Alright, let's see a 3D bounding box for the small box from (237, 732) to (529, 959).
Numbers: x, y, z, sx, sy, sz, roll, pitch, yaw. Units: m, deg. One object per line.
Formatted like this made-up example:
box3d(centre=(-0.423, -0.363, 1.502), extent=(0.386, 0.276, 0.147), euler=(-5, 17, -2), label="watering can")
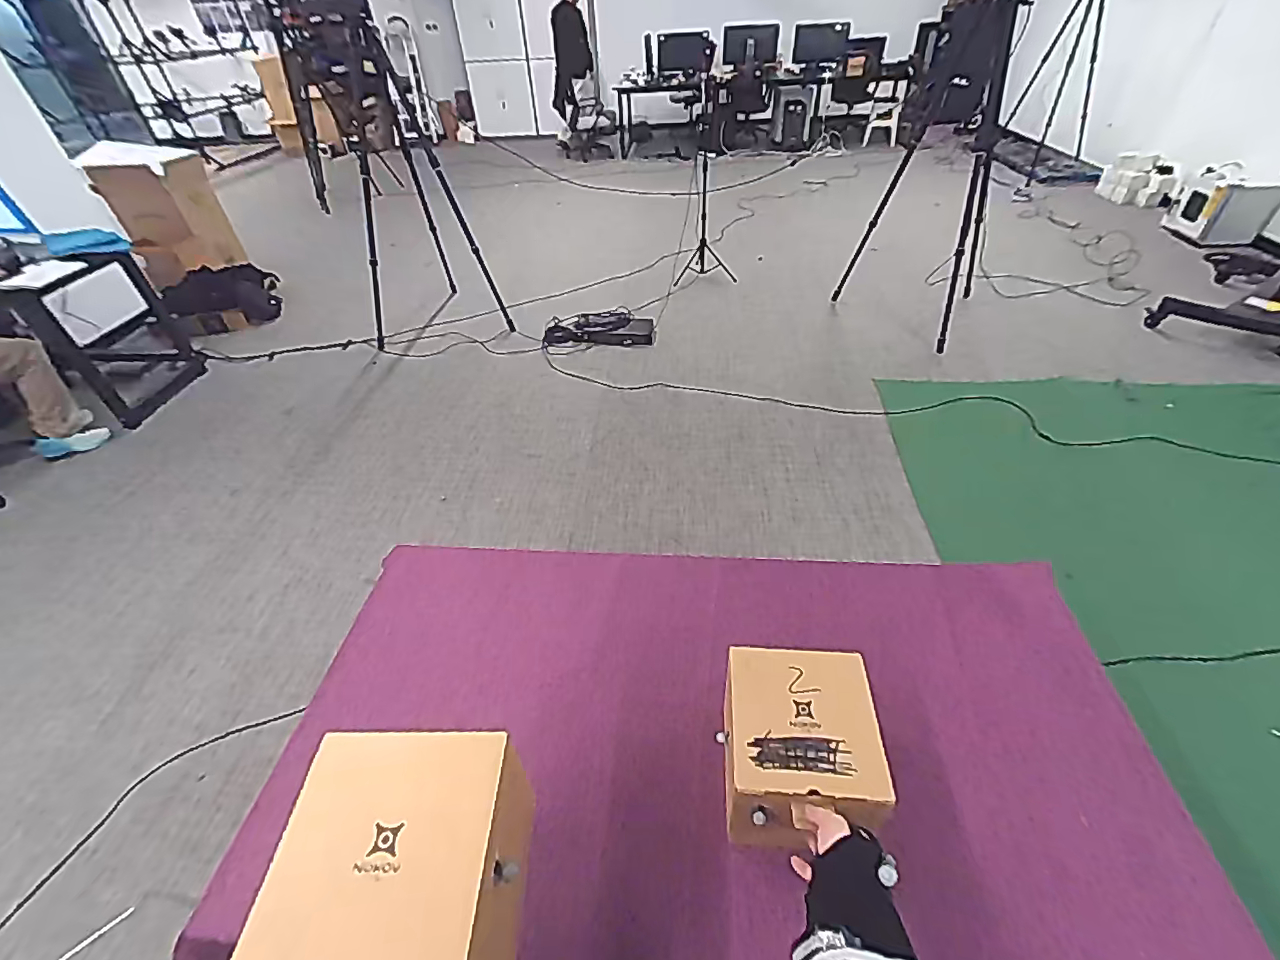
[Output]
box3d(centre=(-0.201, 0.350, 0.487), extent=(0.168, 0.176, 0.179), euler=(0, 44, 1), label="small box")
